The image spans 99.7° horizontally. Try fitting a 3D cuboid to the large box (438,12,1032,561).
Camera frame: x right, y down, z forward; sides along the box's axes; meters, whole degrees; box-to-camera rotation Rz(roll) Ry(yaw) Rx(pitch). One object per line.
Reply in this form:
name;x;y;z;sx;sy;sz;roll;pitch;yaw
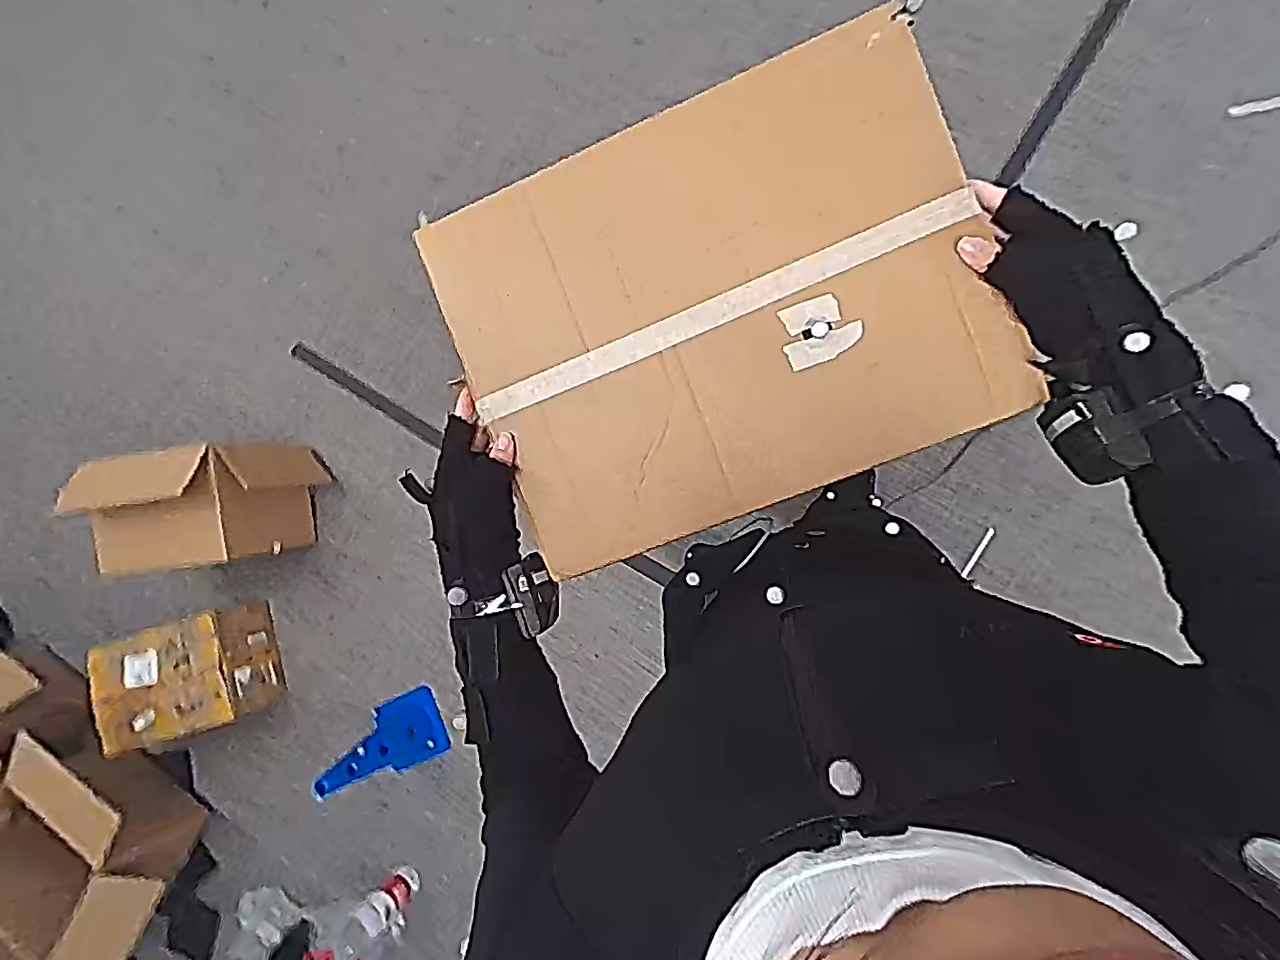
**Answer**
large box;0.079;-0.149;0.580;0.408;0.320;0.320;-21;92;7
